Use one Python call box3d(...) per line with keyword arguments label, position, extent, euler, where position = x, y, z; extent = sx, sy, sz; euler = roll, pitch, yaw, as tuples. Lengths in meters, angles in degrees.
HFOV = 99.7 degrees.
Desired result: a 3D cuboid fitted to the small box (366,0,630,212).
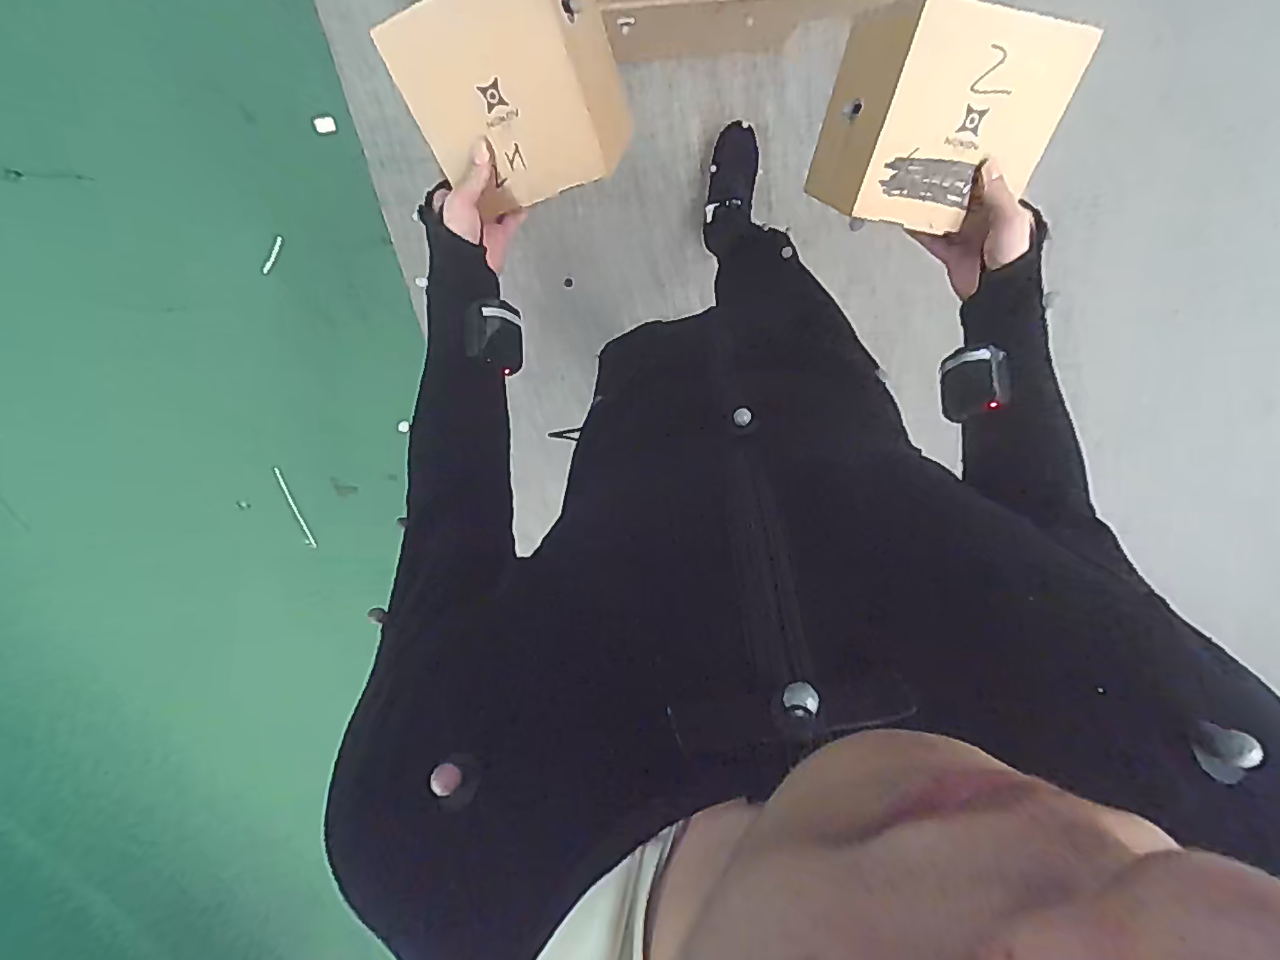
box3d(label="small box", position=(-0.120, -0.405, 0.540), extent=(0.168, 0.176, 0.179), euler=(-8, 133, 19))
